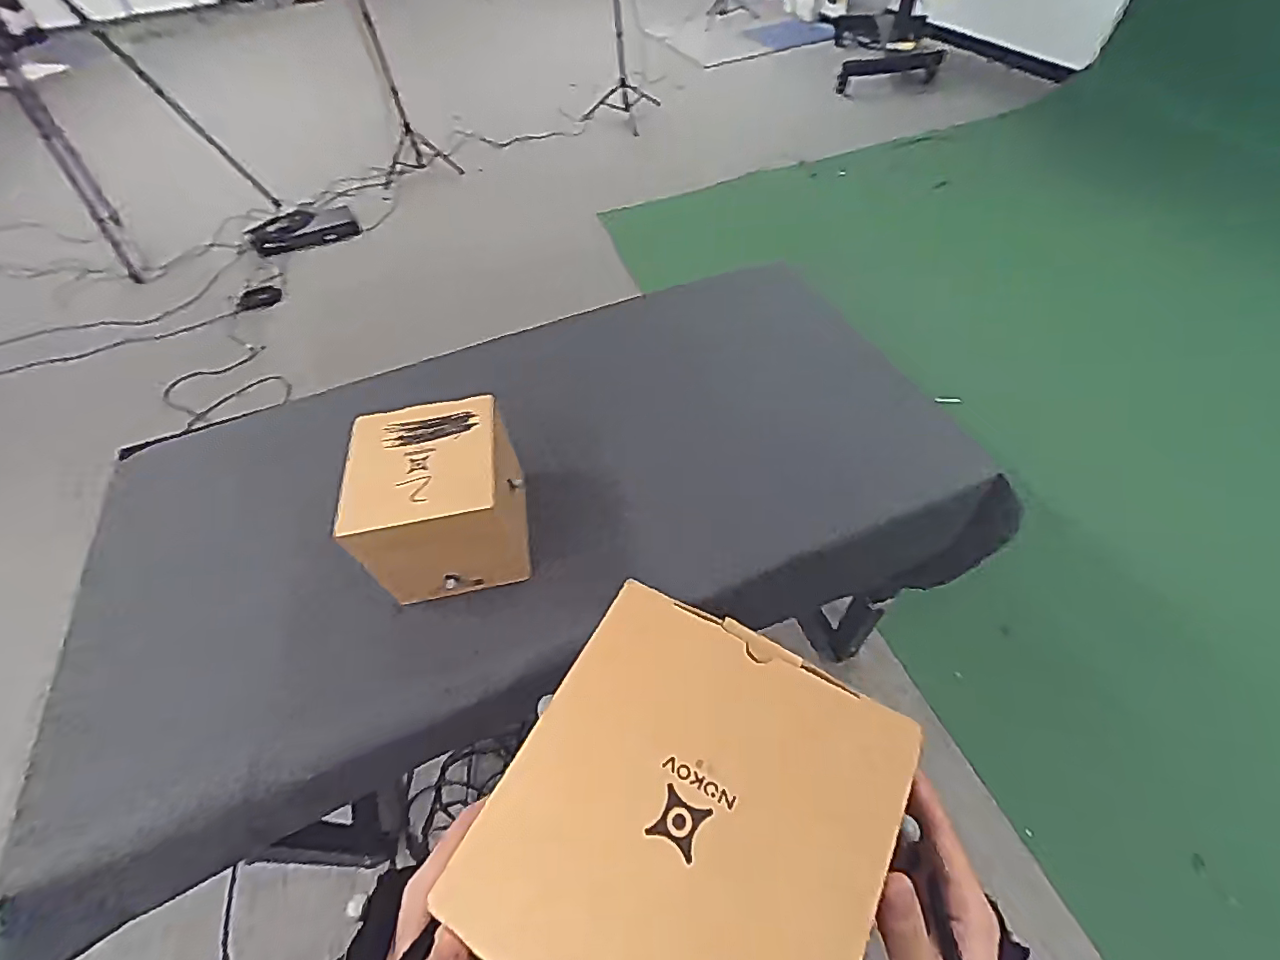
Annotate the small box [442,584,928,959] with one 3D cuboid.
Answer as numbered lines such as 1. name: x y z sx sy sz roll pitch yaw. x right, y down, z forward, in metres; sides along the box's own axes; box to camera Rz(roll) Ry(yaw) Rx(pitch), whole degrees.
1. small box: 0.032 0.198 0.308 0.168 0.176 0.179 23 60 22
